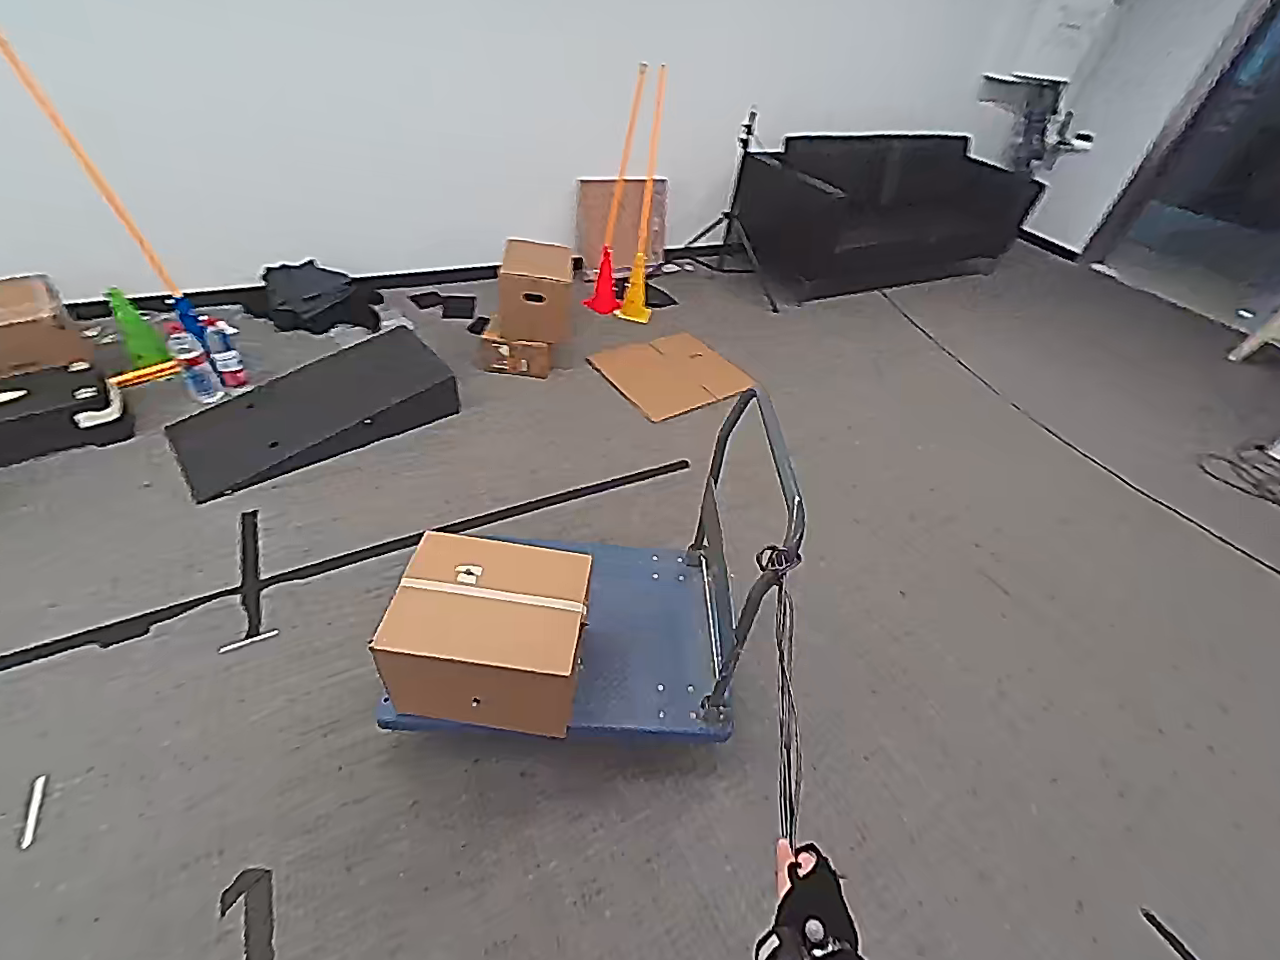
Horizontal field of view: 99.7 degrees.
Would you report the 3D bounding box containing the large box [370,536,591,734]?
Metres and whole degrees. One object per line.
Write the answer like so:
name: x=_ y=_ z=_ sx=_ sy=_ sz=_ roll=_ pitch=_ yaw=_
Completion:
large box: x=-0.338 y=0.368 z=1.273 sx=0.408 sy=0.320 sz=0.320 roll=8 pitch=42 yaw=-1
